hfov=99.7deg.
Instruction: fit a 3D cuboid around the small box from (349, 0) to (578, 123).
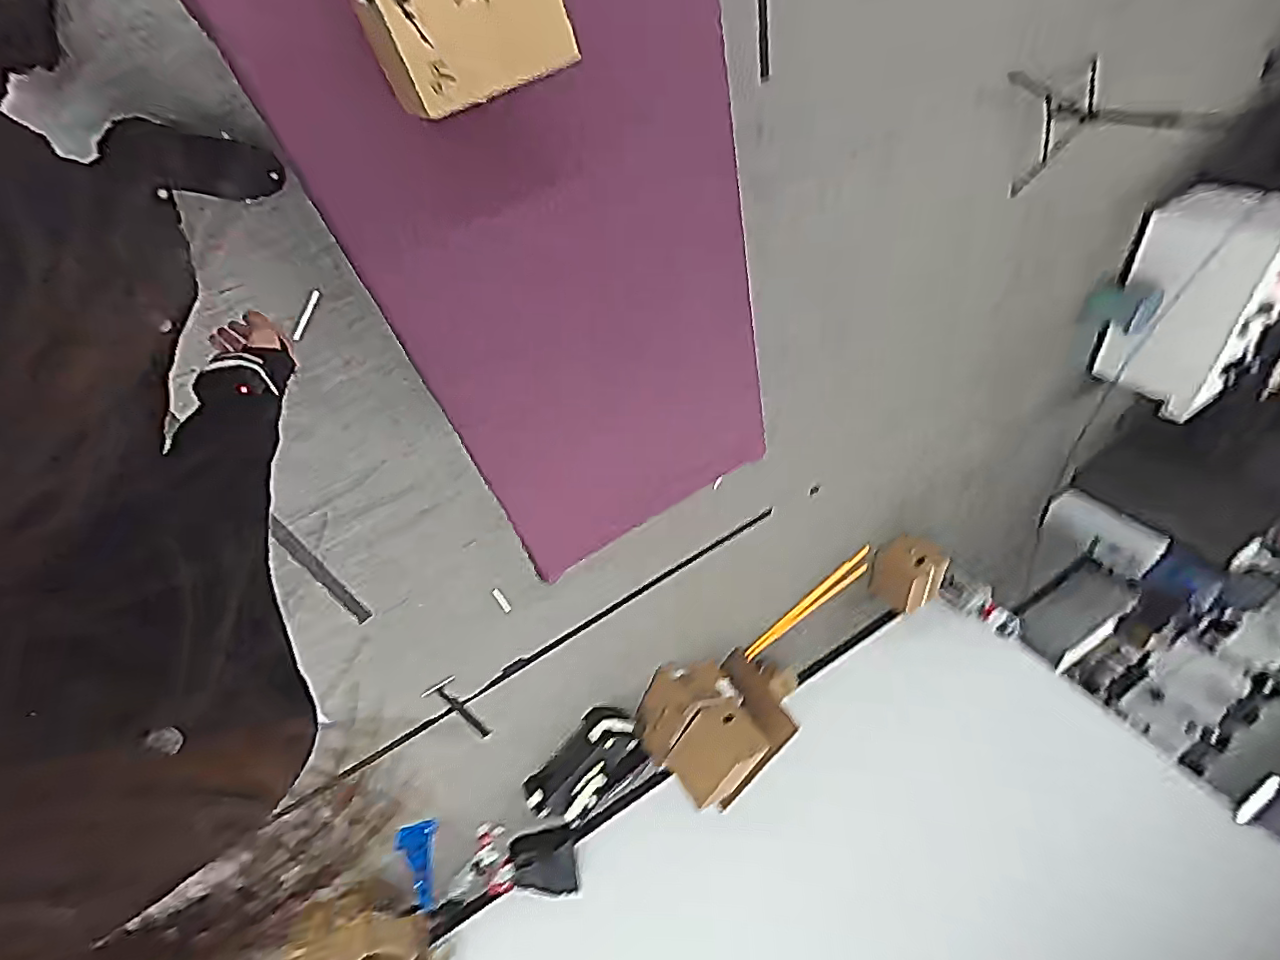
[{"bbox_3d":[-0.195,-0.499,0.561,0.179,0.176,0.168,-31,134,-11],"label":"small box"}]
